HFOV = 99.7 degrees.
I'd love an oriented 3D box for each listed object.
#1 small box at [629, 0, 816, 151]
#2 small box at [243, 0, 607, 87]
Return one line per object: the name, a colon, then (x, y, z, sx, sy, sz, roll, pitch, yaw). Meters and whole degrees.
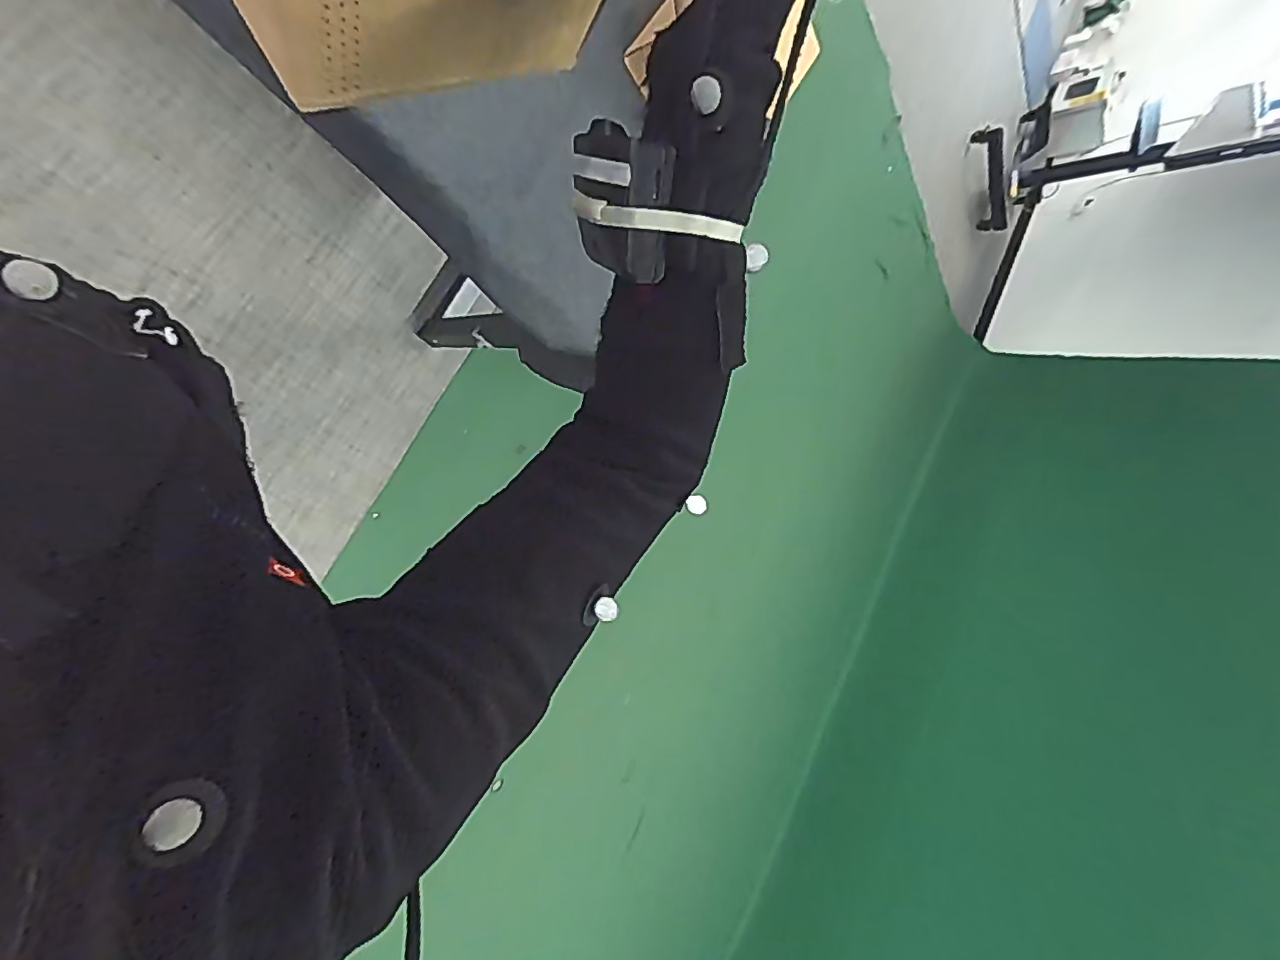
small box: (0.116, -0.612, 0.769, 0.168, 0.176, 0.179, 42, 74, -41)
small box: (-0.099, -0.295, 0.209, 0.176, 0.179, 0.168, -33, 100, -28)
